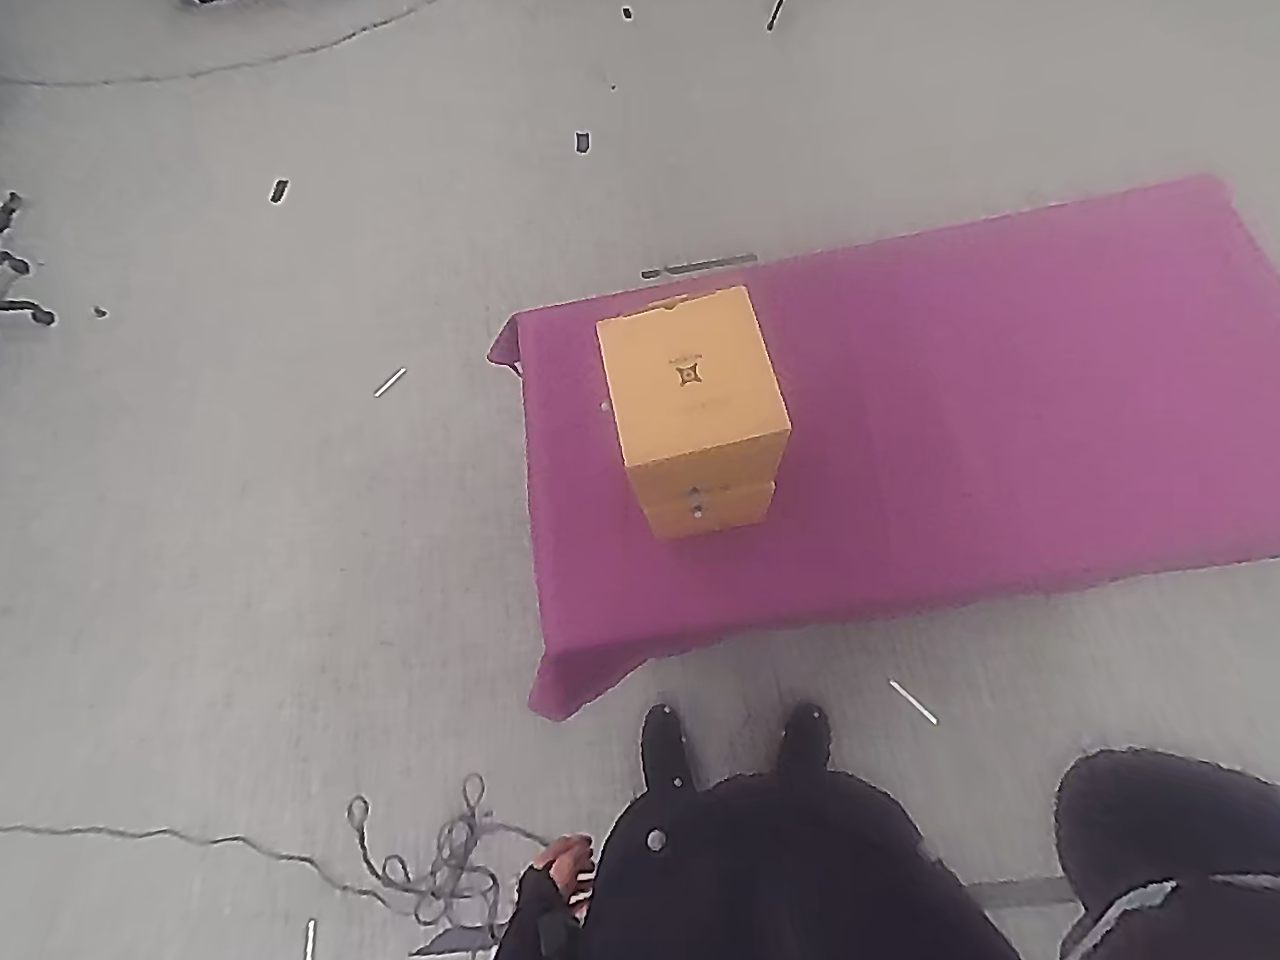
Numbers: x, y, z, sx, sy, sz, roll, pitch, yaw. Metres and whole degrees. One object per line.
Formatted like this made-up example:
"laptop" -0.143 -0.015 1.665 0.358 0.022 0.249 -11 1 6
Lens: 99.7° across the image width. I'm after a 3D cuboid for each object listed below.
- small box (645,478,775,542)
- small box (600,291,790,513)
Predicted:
"small box" 0.085 -0.025 0.775 0.168 0.176 0.179 -11 70 4
"small box" 0.059 -0.080 0.623 0.168 0.176 0.179 -13 70 3
